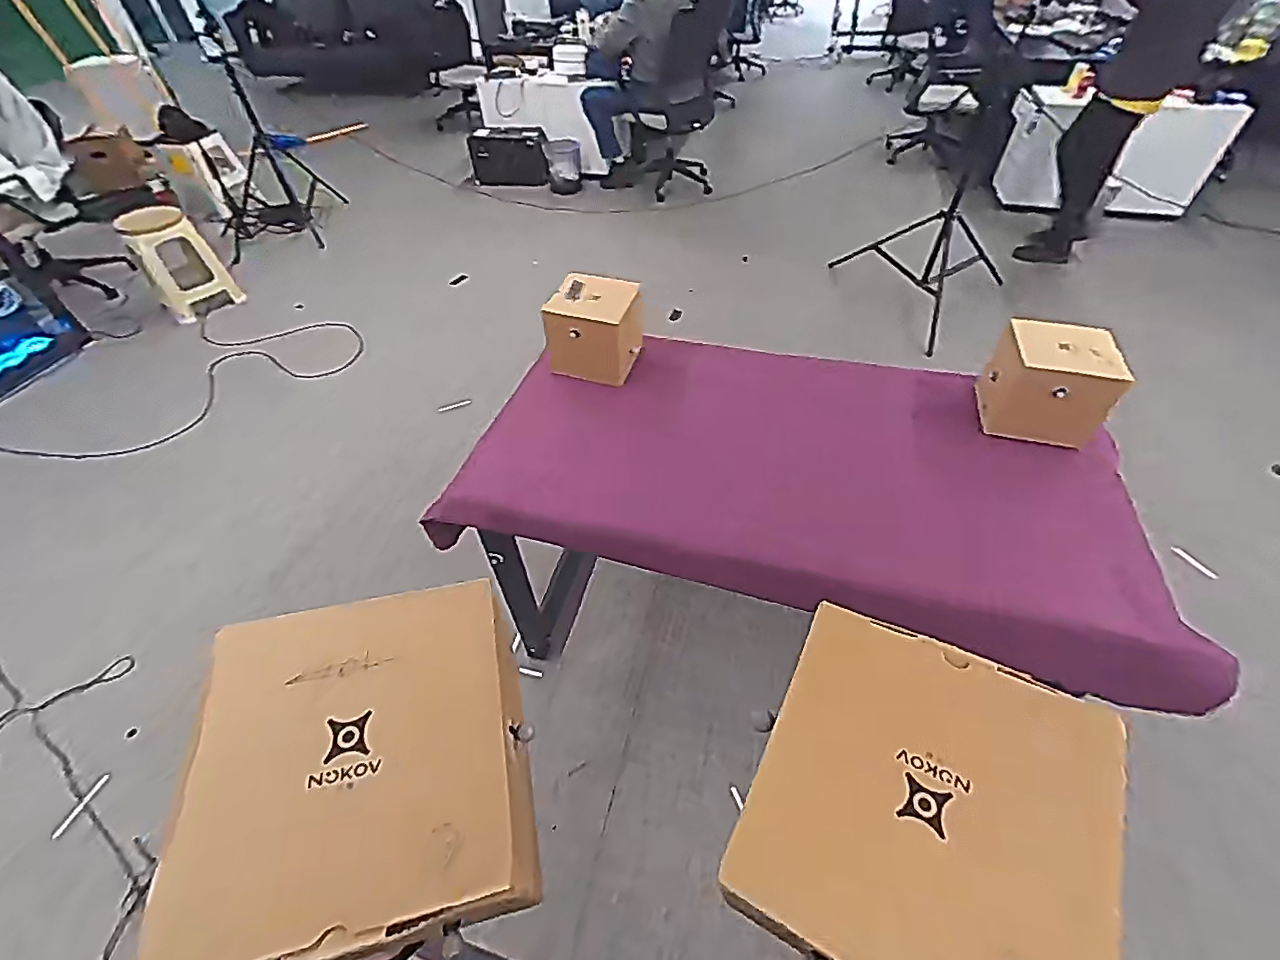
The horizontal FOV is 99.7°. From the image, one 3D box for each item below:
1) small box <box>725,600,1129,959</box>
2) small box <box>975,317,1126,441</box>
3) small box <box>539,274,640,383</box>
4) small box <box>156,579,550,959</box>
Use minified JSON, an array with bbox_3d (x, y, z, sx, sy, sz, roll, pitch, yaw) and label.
[{"bbox_3d":[0.167,0.216,0.344,0.168,0.176,0.179,18,54,25],"label":"small box"},{"bbox_3d":[0.790,-0.197,1.069,0.179,0.176,0.168,11,50,11],"label":"small box"},{"bbox_3d":[-0.107,-0.343,1.233,0.179,0.176,0.168,13,51,12],"label":"small box"},{"bbox_3d":[-0.156,0.194,0.359,0.168,0.176,0.179,-9,52,-12],"label":"small box"}]
